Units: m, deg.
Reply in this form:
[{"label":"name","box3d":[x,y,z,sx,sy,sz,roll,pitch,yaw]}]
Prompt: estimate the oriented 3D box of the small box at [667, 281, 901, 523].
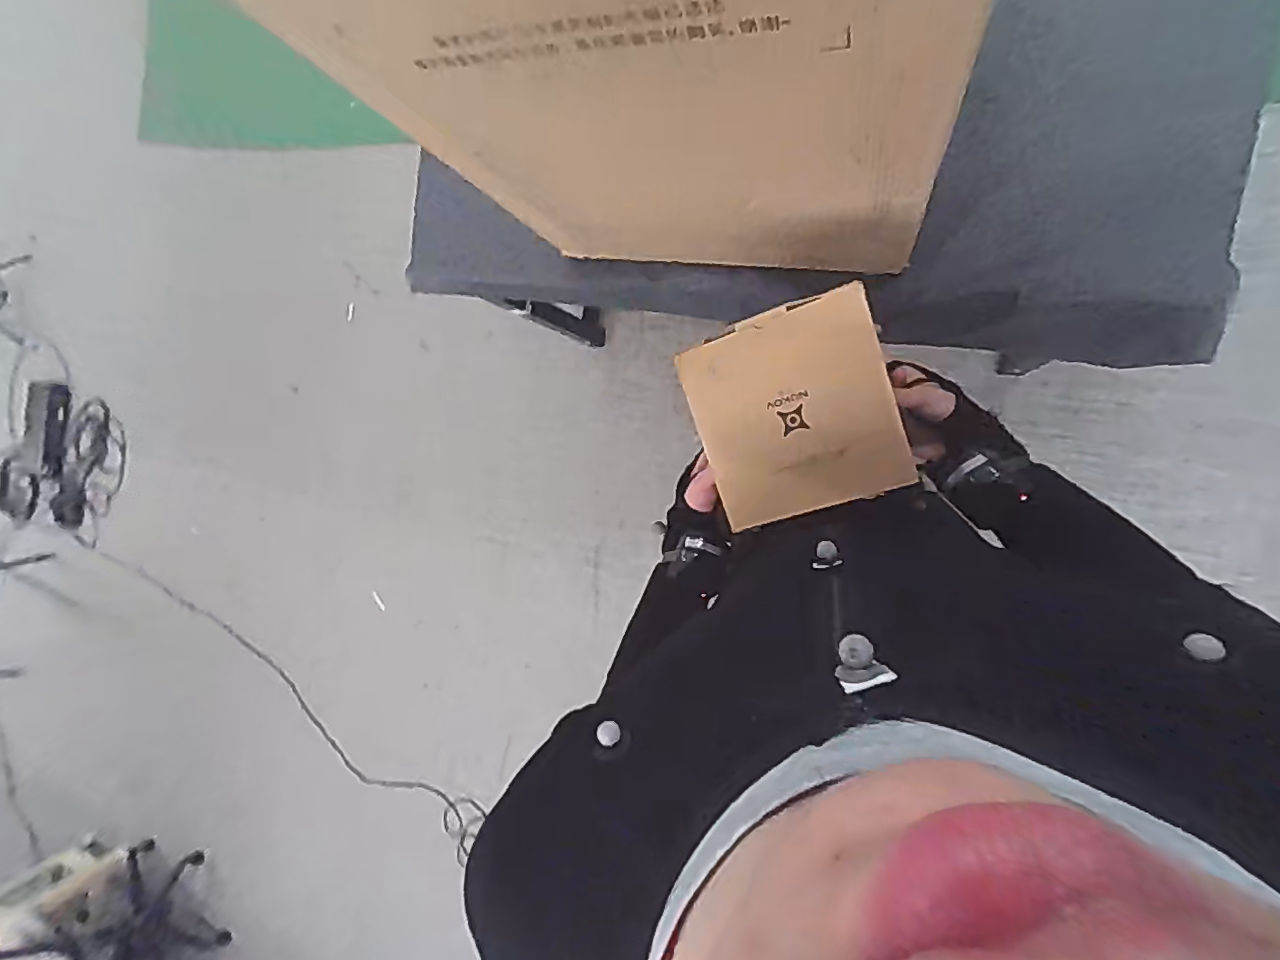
[{"label":"small box","box3d":[0.142,-0.078,0.544,0.168,0.176,0.179,-16,99,19]}]
